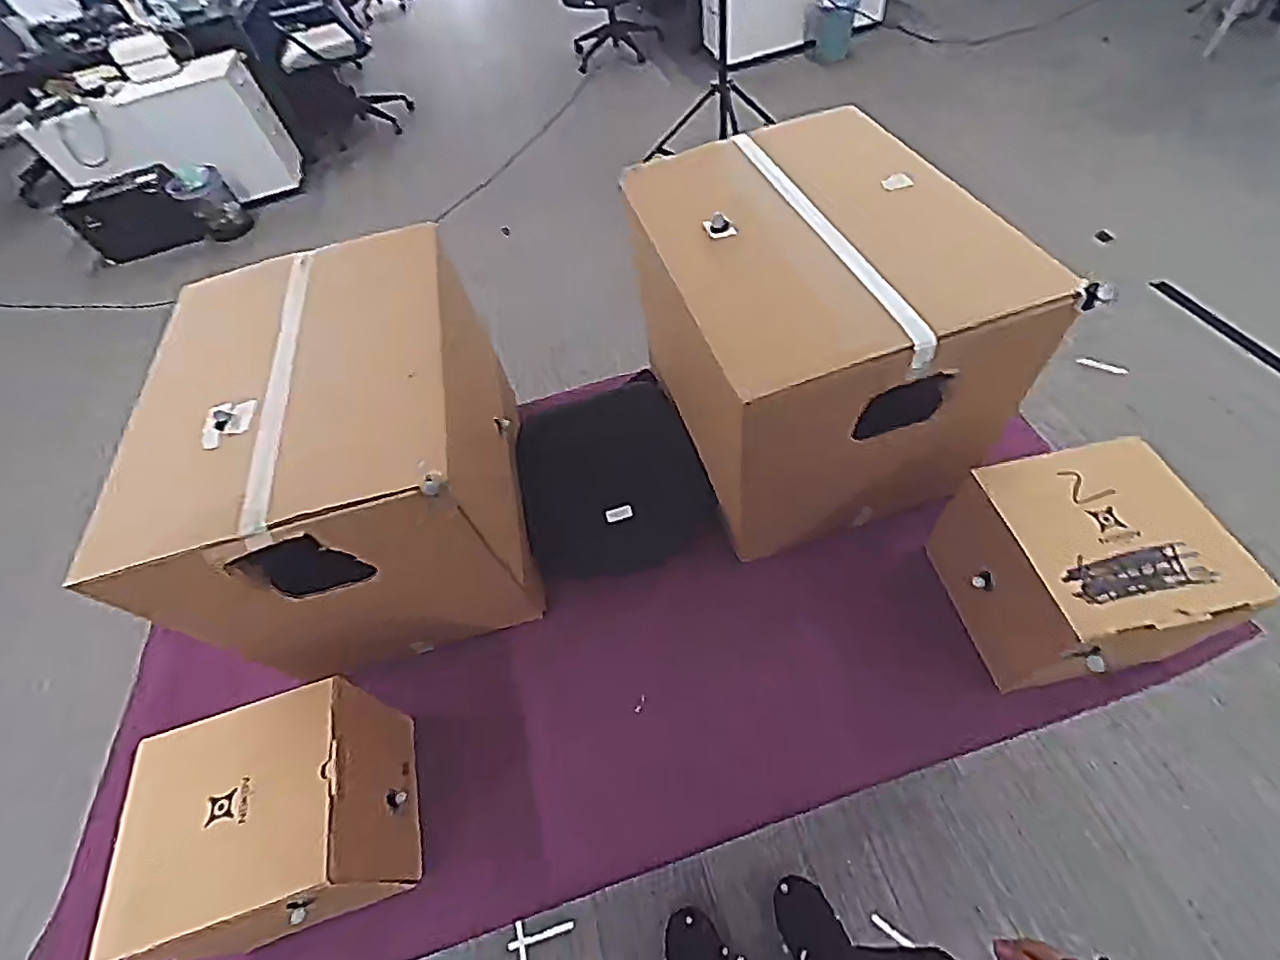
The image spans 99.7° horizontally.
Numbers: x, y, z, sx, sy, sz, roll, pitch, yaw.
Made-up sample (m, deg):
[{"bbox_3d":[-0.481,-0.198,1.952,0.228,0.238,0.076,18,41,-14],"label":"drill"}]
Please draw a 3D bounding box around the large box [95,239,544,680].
[{"bbox_3d":[-0.334,-0.020,0.676,0.320,0.320,0.408,-17,57,-1],"label":"large box"}]

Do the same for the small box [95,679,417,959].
[{"bbox_3d":[-0.339,0.322,0.520,0.179,0.176,0.168,-18,54,-7],"label":"small box"}]
